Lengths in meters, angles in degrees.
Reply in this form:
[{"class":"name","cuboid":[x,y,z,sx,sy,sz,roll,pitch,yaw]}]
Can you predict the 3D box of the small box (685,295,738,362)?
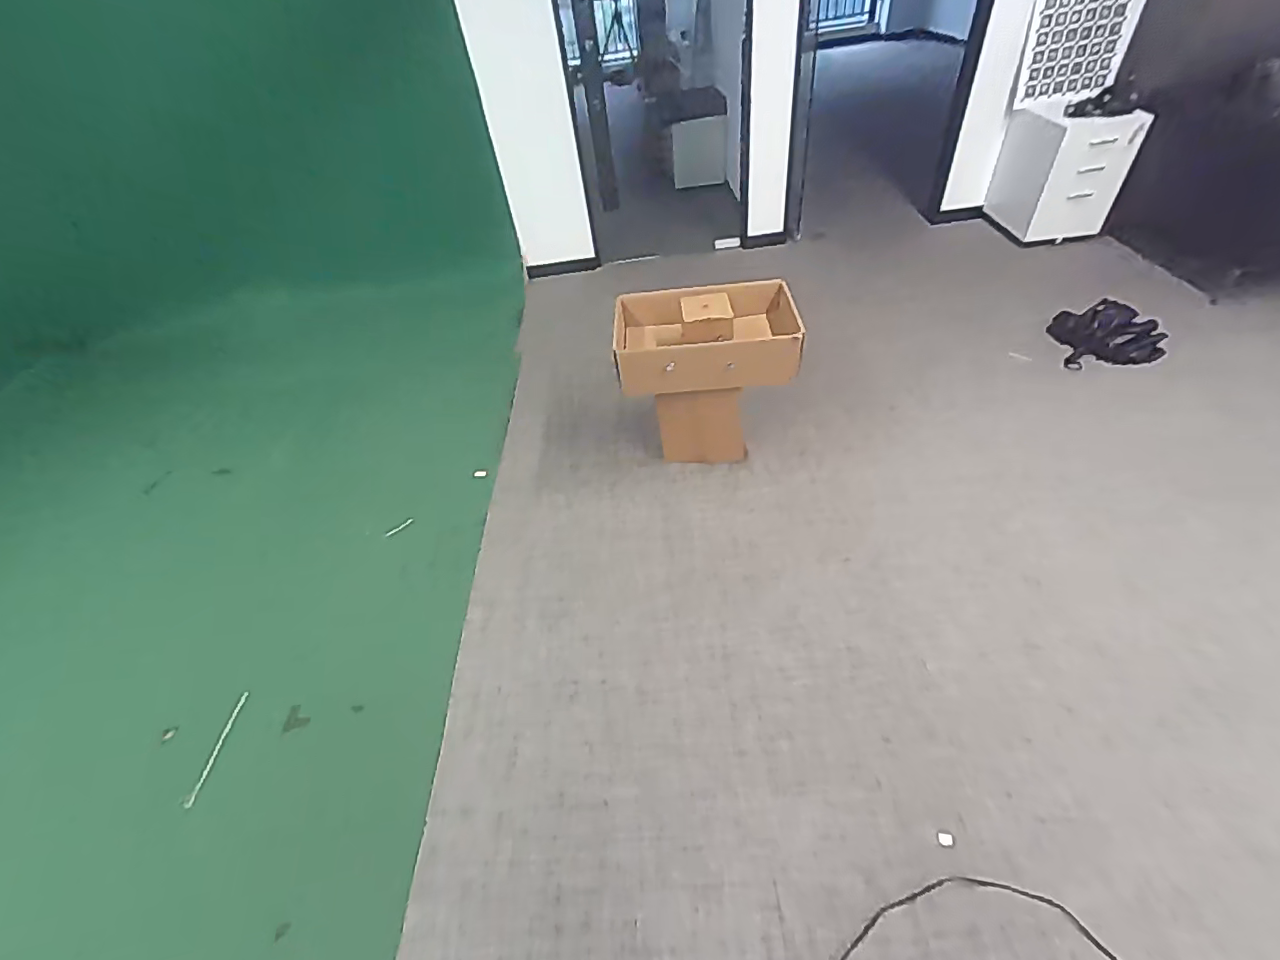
[{"class":"small box","cuboid":[0.250,-0.526,1.895,0.168,0.176,0.179,-5,43,2]}]
